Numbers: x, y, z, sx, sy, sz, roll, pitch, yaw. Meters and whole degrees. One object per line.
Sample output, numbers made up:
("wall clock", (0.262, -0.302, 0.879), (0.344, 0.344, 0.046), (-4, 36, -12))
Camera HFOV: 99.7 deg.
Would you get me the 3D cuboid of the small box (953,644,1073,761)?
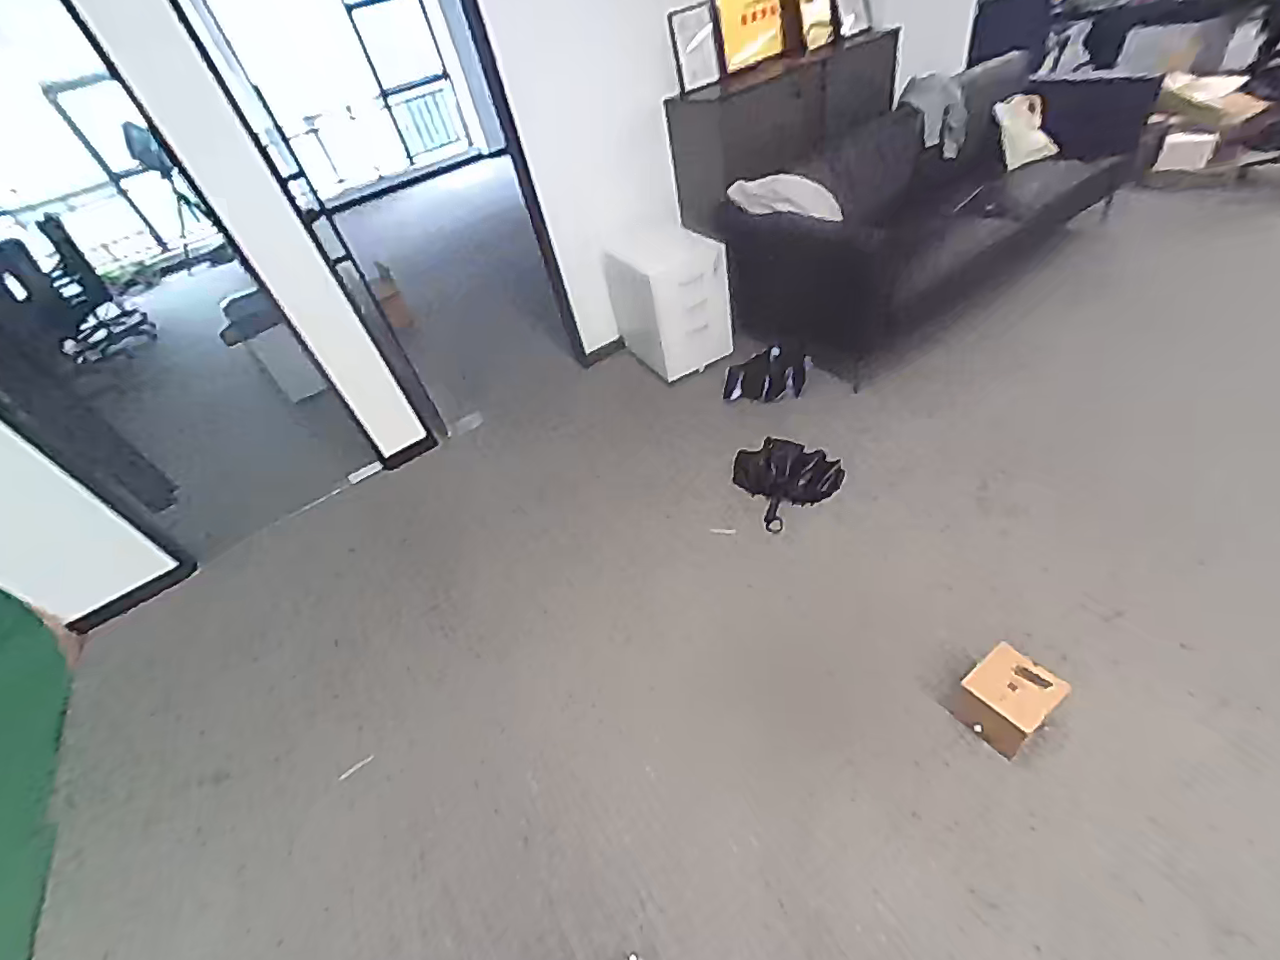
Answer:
("small box", (0.909, 0.550, 1.337), (0.179, 0.176, 0.168), (-33, 45, -17))
